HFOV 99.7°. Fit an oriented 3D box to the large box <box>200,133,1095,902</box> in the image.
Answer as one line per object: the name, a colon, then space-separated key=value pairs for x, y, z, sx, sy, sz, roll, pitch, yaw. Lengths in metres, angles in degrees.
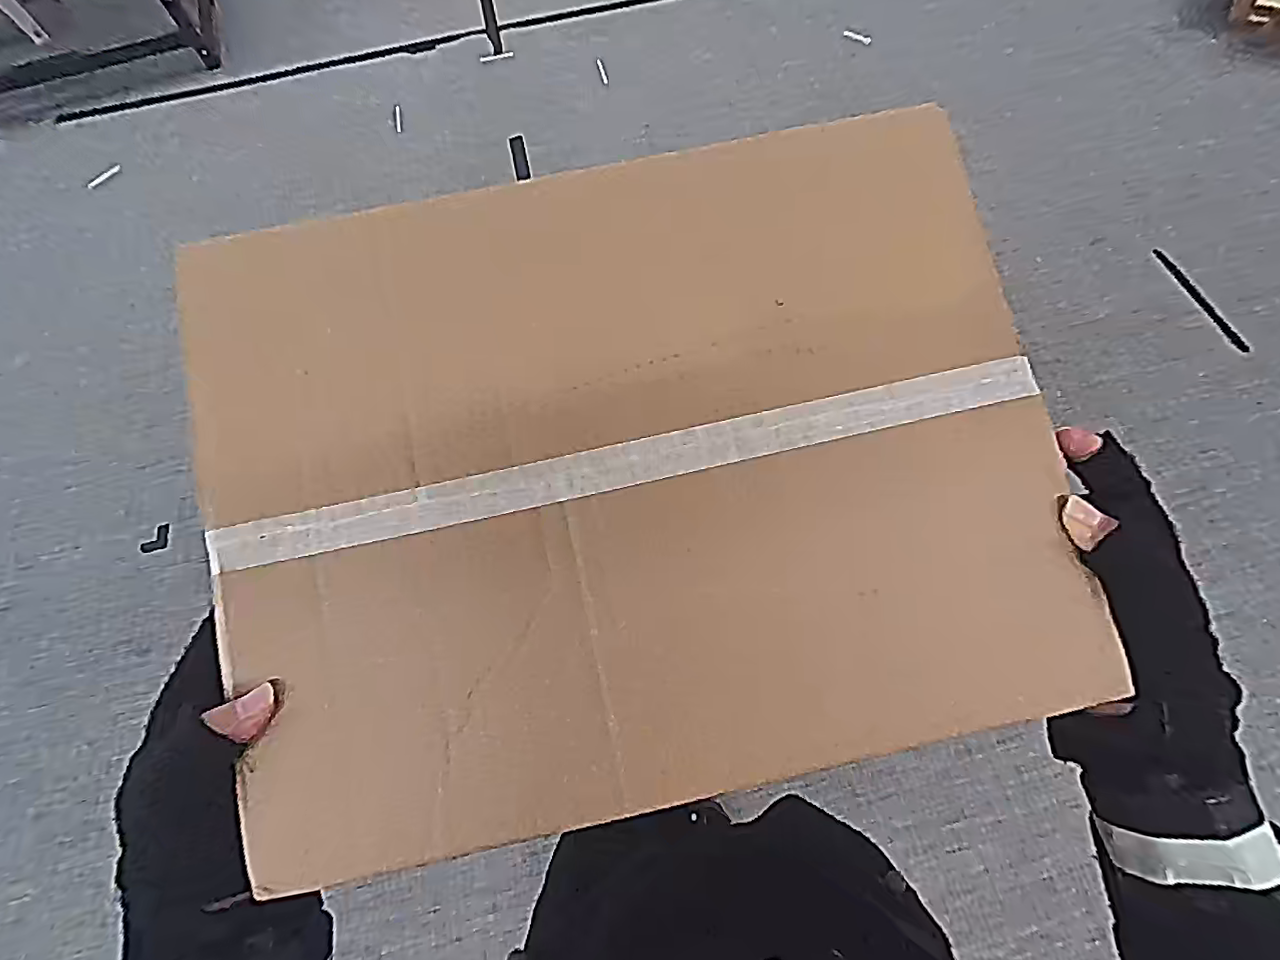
large box: x=-0.003 y=0.019 z=0.418 sx=0.408 sy=0.320 sz=0.320 roll=-13 pitch=82 yaw=-2
